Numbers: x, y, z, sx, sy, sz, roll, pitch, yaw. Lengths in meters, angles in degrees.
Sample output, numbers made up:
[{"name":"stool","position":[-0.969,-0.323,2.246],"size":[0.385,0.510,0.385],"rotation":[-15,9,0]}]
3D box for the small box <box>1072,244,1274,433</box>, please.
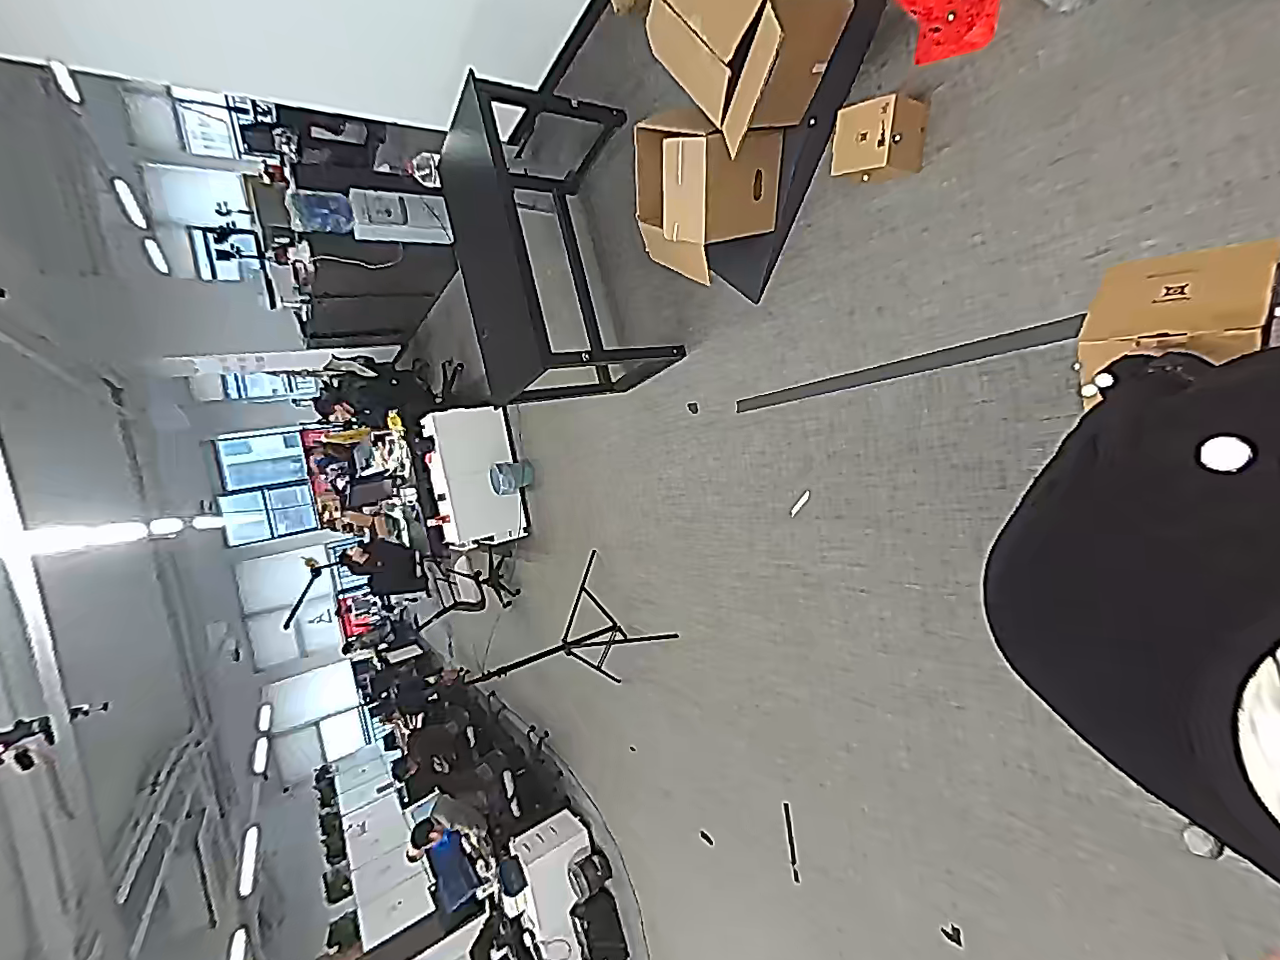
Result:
[{"name":"small box","position":[0.719,-0.180,0.734],"size":[0.168,0.179,0.176],"rotation":[10,145,49]}]
